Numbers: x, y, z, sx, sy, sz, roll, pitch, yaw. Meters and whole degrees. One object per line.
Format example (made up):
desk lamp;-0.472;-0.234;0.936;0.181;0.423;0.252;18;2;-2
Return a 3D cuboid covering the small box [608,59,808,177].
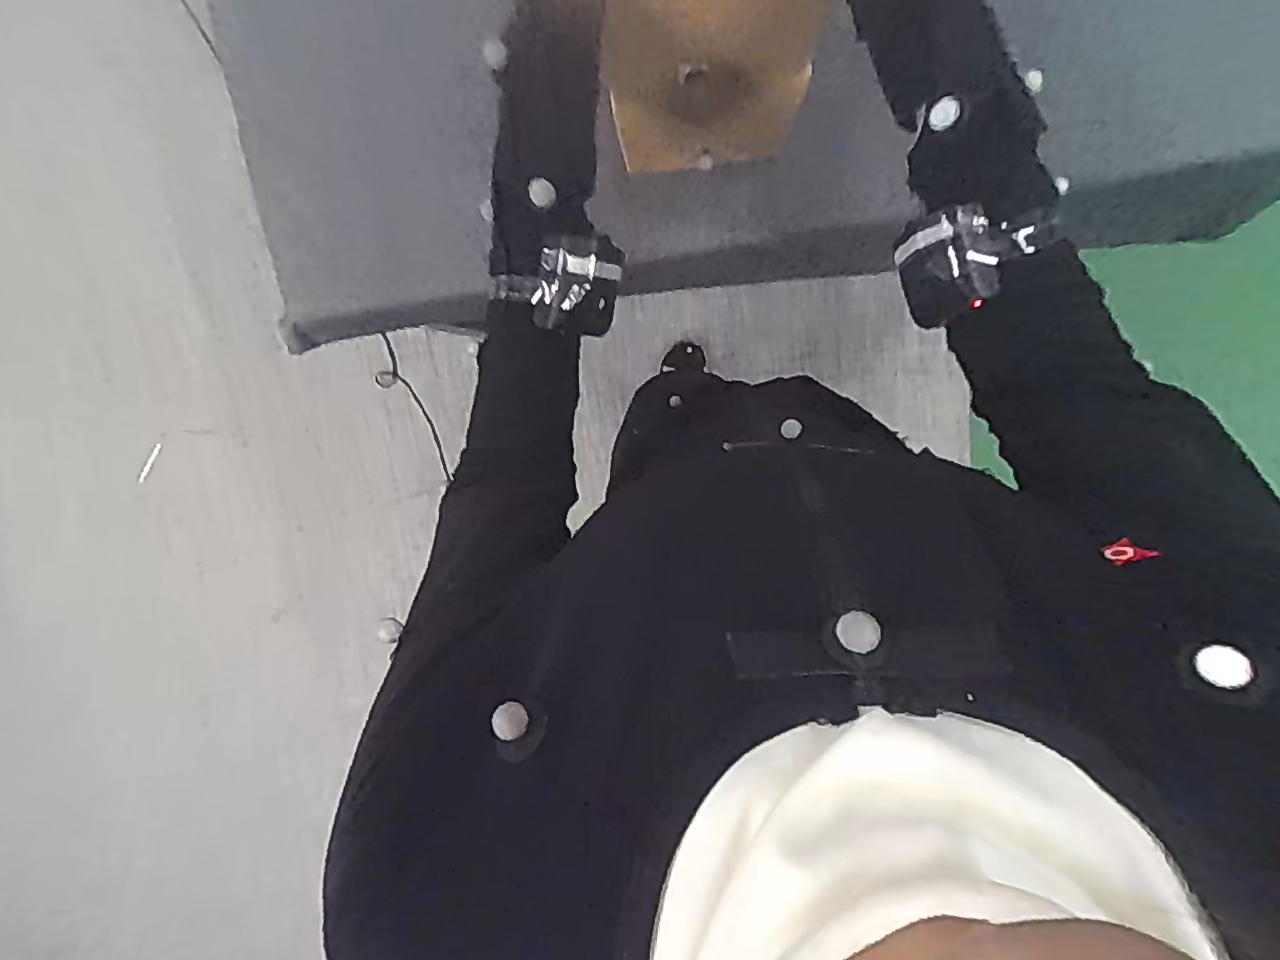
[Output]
small box;0.056;-0.429;0.542;0.179;0.176;0.168;-6;99;5

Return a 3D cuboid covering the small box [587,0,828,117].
small box;0.039;-0.401;0.381;0.168;0.176;0.179;-7;98;7
